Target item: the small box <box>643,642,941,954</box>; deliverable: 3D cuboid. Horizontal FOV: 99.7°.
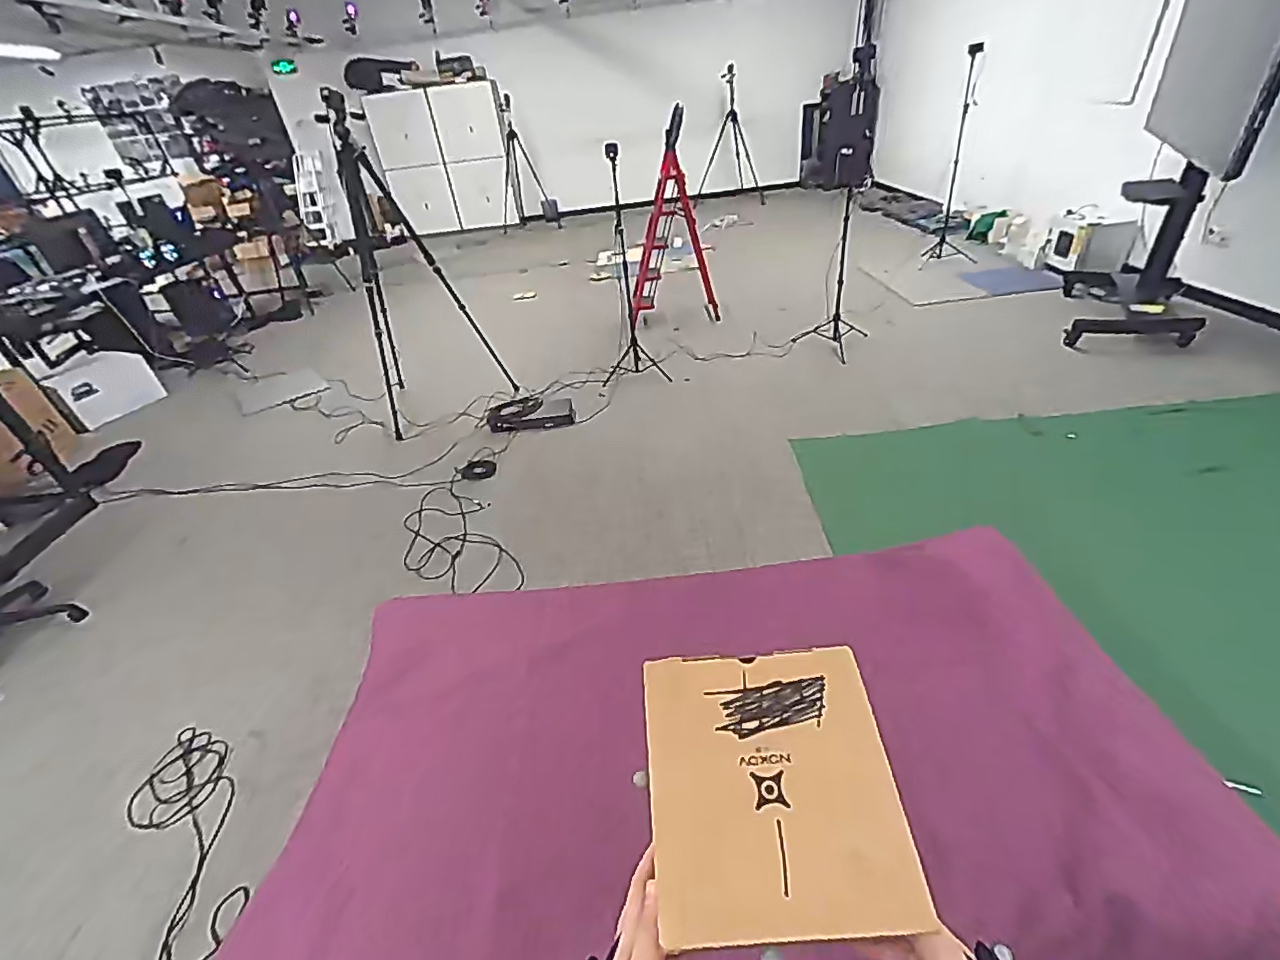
[{"bbox_3d":[0.091,0.248,0.420,0.168,0.176,0.179,-6,49,2],"label":"small box"}]
